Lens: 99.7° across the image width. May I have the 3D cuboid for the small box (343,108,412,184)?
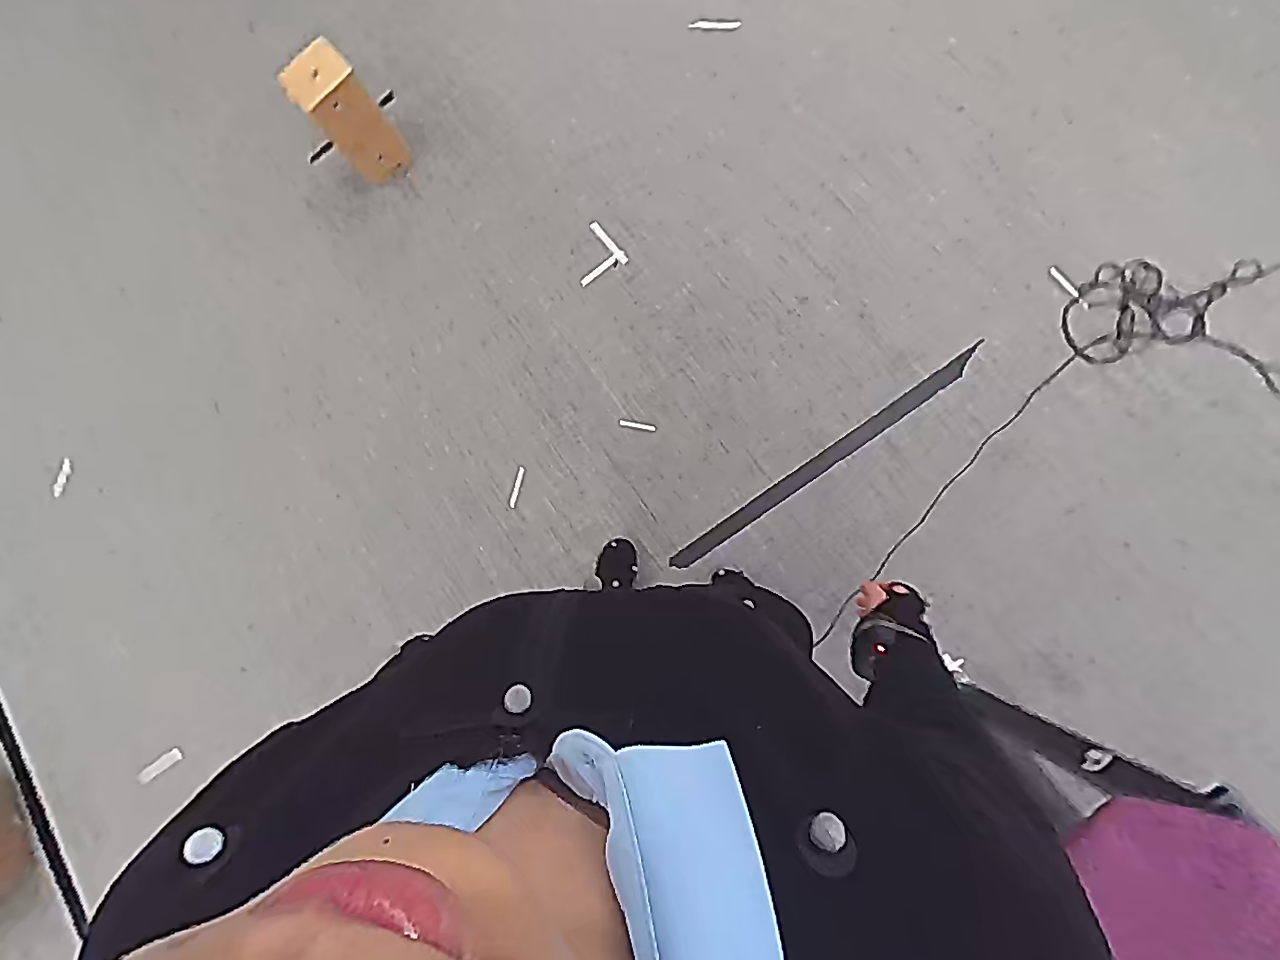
[{"bbox_3d":[-0.869,-1.090,1.734,0.168,0.176,0.179,-34,78,2],"label":"small box"}]

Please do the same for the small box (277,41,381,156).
[{"bbox_3d":[-0.890,-1.102,1.572,0.179,0.176,0.168,-42,79,1],"label":"small box"}]
